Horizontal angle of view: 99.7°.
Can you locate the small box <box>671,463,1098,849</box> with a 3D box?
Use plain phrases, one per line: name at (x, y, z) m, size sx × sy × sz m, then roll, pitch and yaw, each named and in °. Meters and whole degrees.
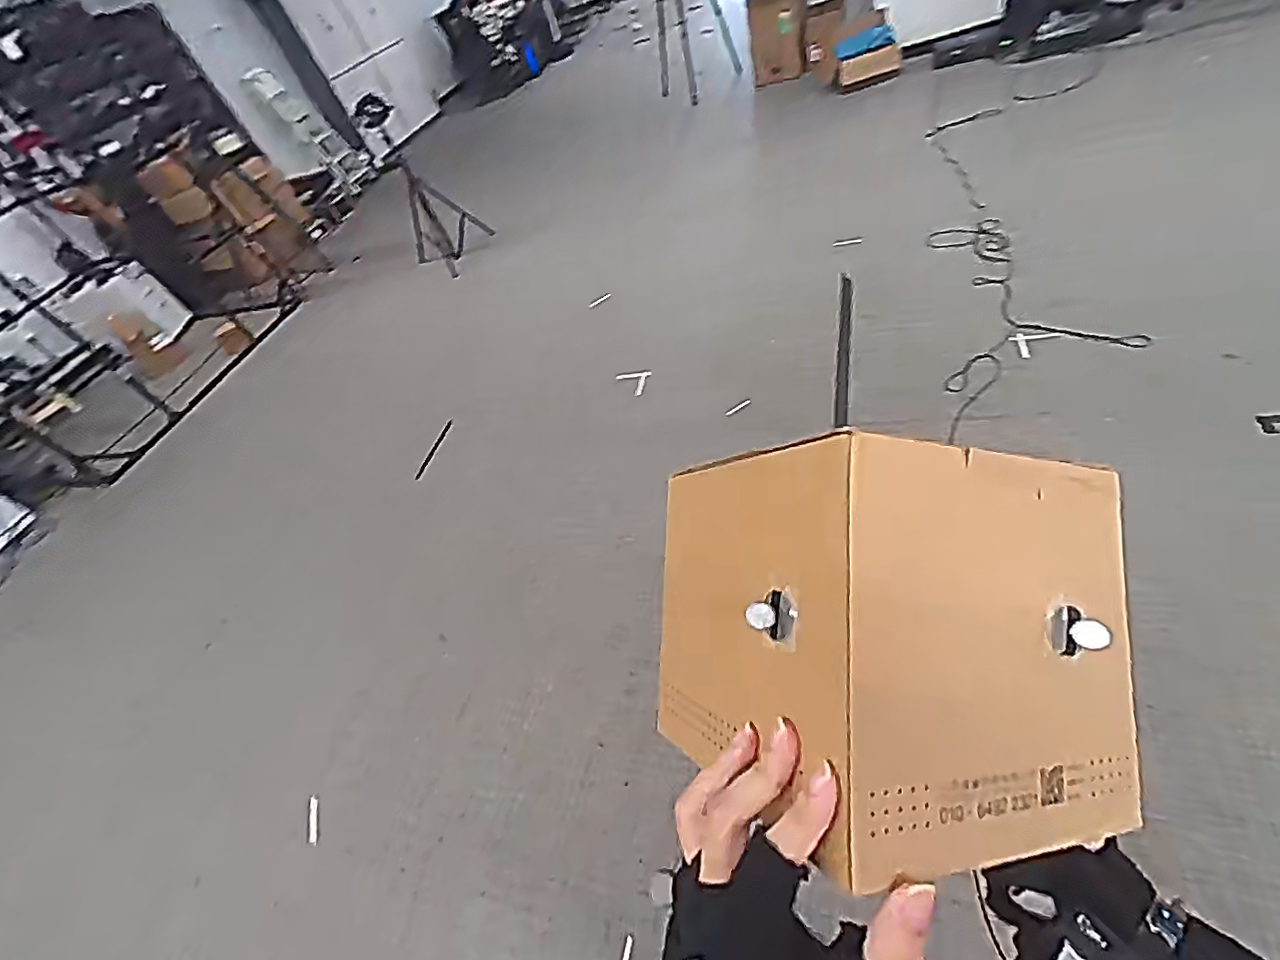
small box at (0.126, 0.089, 0.320) m, size 0.168 × 0.179 × 0.176 m, roll 6°, pitch 82°, yaw -19°
